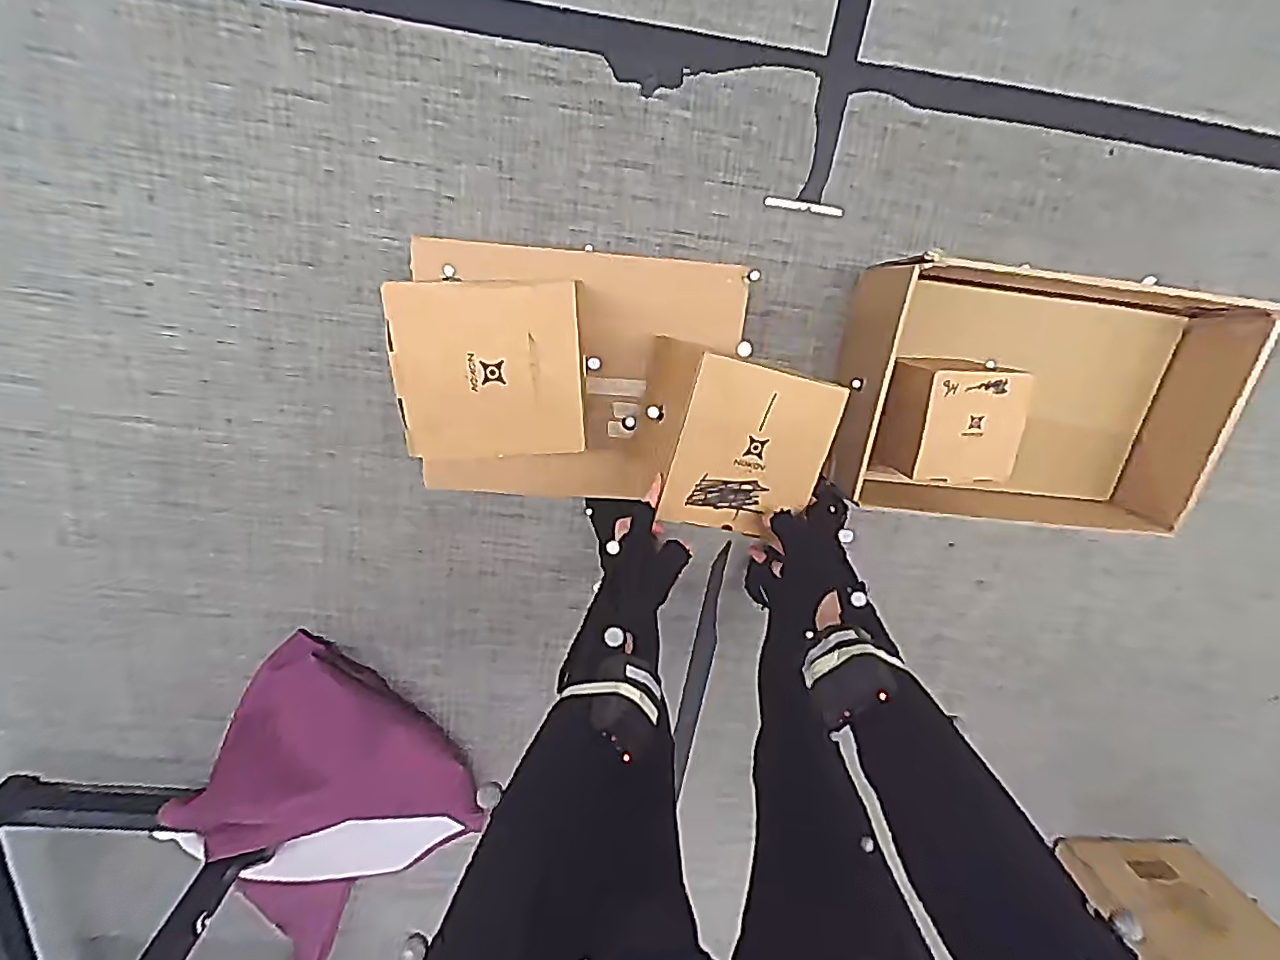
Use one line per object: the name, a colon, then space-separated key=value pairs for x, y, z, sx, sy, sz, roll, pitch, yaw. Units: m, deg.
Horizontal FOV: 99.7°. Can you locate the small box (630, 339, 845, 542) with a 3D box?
small box: x=0.095 y=-0.053 z=0.625 sx=0.168 sy=0.176 sz=0.179 roll=11 pitch=106 yaw=-17

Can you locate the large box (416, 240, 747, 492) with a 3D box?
large box: x=-0.085 y=-0.179 z=0.835 sx=0.408 sy=0.320 sz=0.320 roll=2 pitch=110 yaw=-5
